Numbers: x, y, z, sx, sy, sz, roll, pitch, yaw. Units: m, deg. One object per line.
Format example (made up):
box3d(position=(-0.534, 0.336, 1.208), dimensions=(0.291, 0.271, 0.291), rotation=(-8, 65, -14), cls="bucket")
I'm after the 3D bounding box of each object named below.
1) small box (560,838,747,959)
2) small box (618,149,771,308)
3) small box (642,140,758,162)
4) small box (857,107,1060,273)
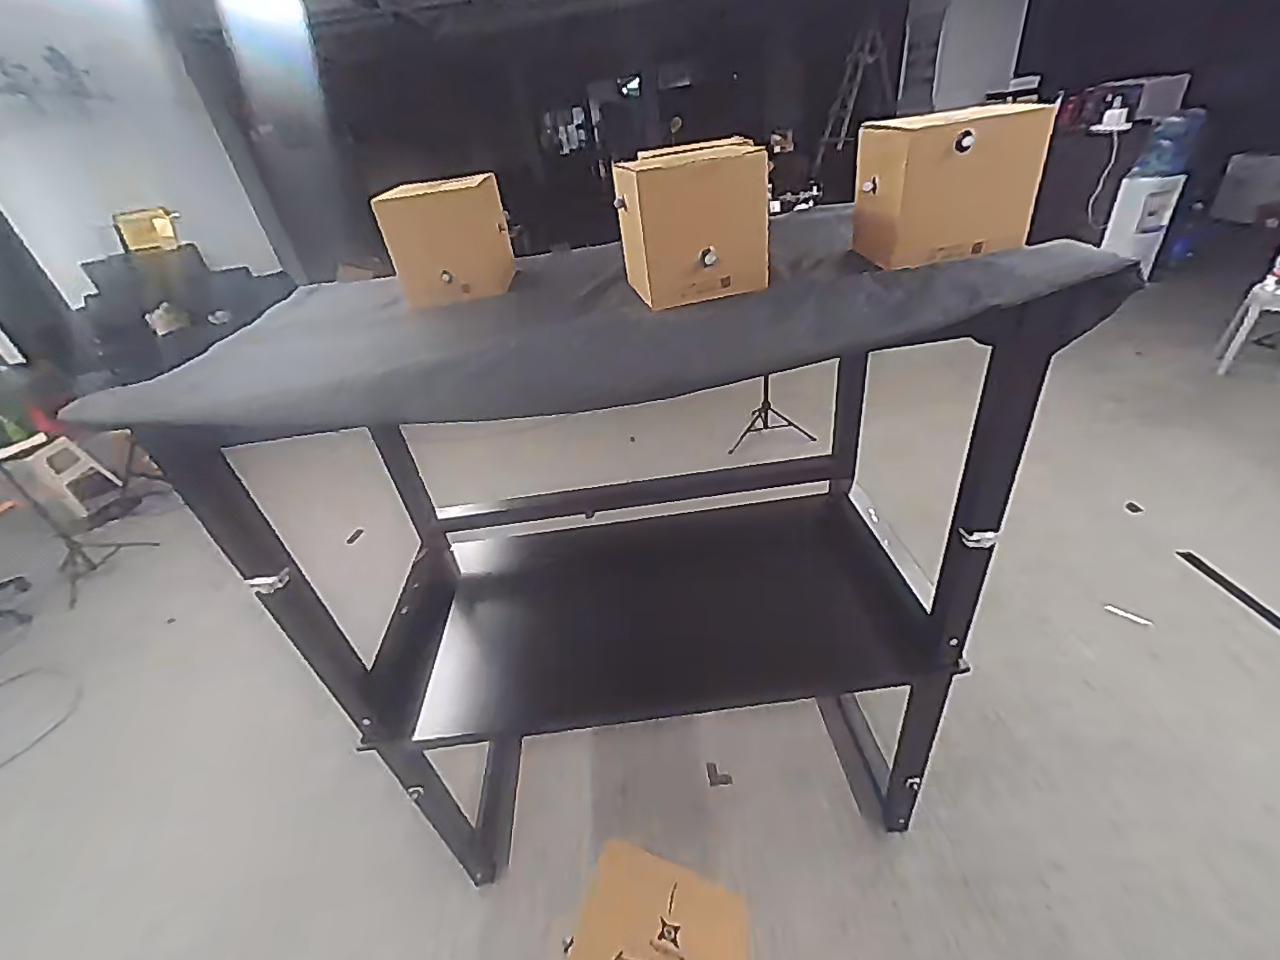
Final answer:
box3d(position=(-0.001, 0.519, 0.533), dimensions=(0.168, 0.176, 0.179), rotation=(21, 11, 5), cls="small box")
box3d(position=(0.072, -0.352, 0.755), dimensions=(0.168, 0.176, 0.179), rotation=(-13, 34, -6), cls="small box")
box3d(position=(0.100, -0.477, 0.935), dimensions=(0.179, 0.176, 0.168), rotation=(-7, 33, 2), cls="small box")
box3d(position=(0.405, -0.387, 0.729), dimensions=(0.168, 0.176, 0.179), rotation=(-7, 33, 5), cls="small box")
